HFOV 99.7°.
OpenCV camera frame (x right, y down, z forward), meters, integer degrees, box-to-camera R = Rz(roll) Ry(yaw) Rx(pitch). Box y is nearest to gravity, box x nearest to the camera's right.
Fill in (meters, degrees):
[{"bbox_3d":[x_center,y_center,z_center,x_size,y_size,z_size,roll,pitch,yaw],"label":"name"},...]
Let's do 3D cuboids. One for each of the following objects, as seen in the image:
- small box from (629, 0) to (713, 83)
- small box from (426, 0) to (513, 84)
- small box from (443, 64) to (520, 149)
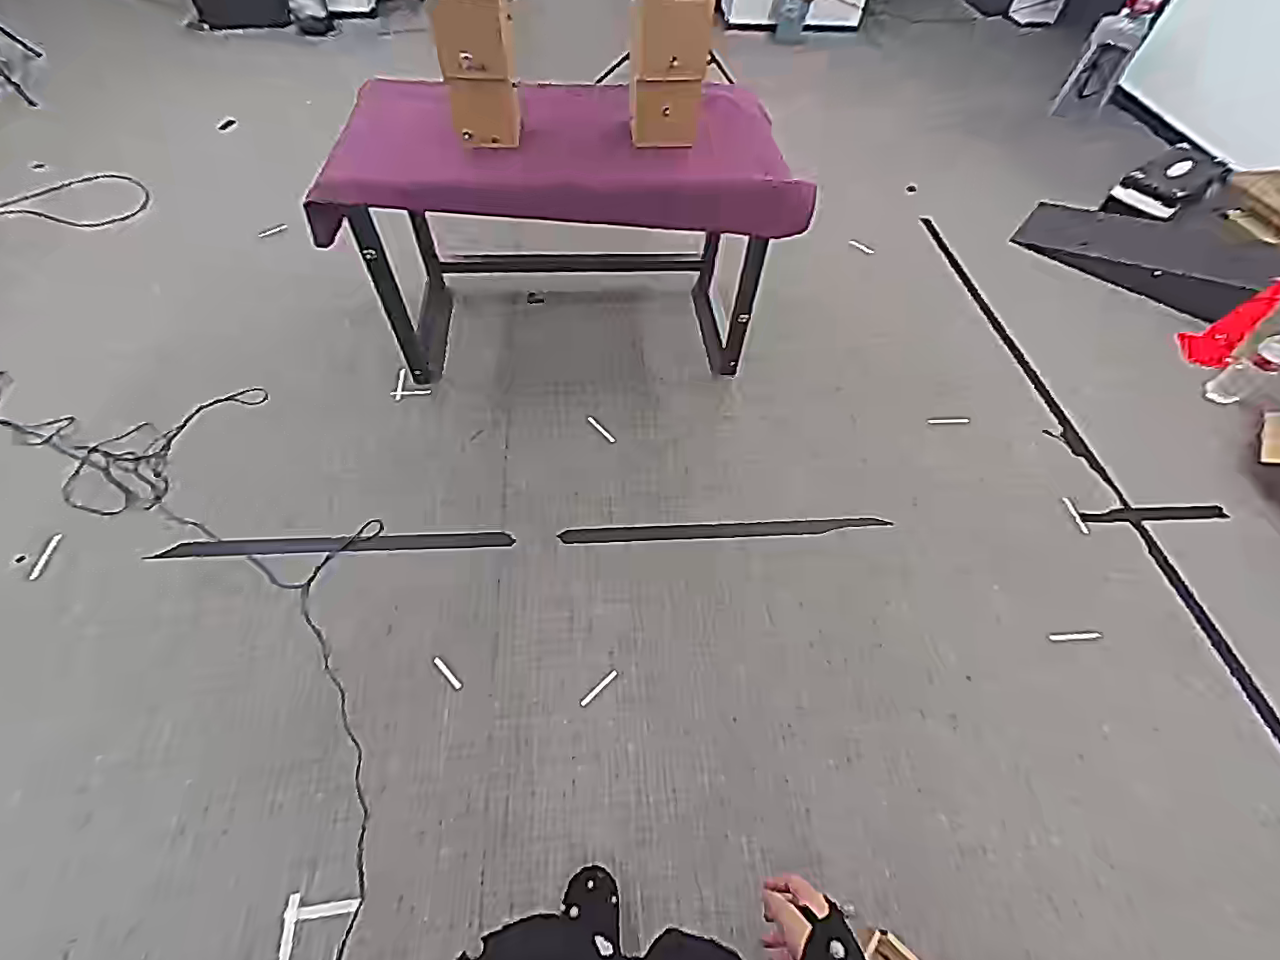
[{"bbox_3d":[0.071,-1.132,1.367,0.179,0.176,0.168,-7,56,-8],"label":"small box"},{"bbox_3d":[-0.410,-1.103,1.323,0.168,0.176,0.179,-3,57,-4],"label":"small box"},{"bbox_3d":[-0.420,-1.021,1.463,0.168,0.176,0.179,-3,55,-5],"label":"small box"}]
